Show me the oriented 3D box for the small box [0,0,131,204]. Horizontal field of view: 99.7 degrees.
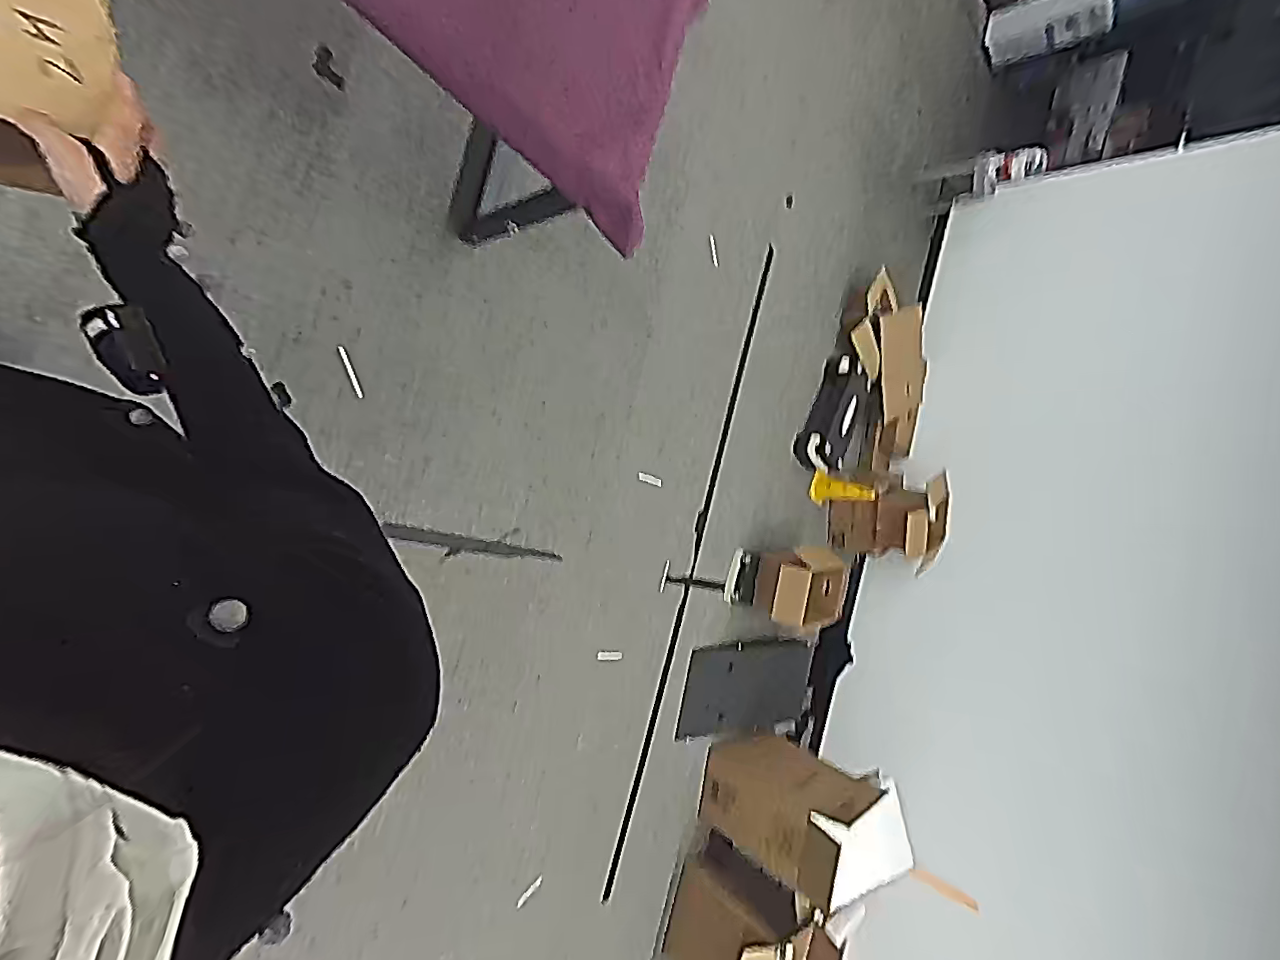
[{"bbox_3d":[-0.563,-0.358,0.458,0.179,0.176,0.168,-8,99,-46],"label":"small box"}]
